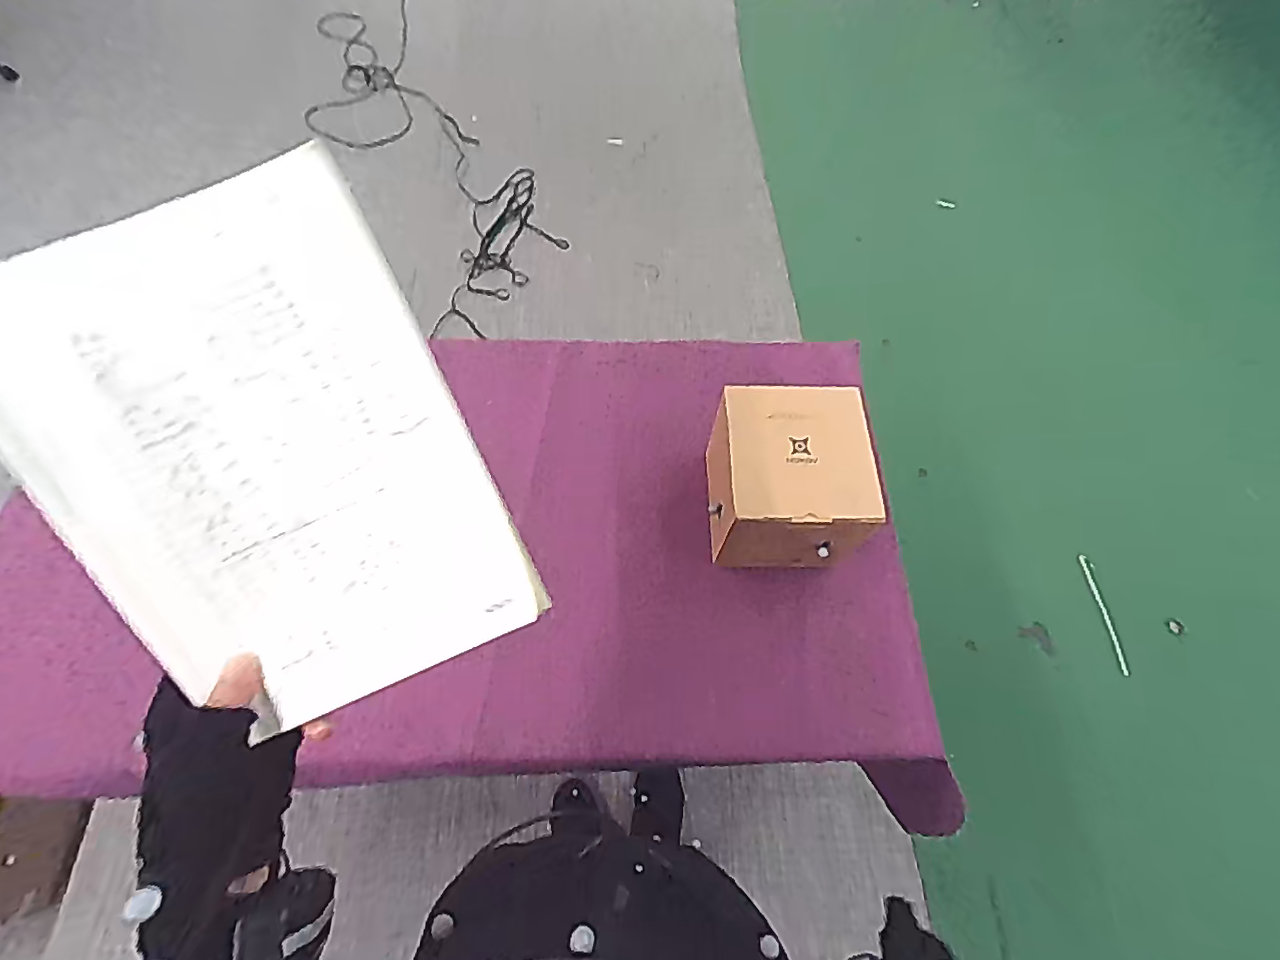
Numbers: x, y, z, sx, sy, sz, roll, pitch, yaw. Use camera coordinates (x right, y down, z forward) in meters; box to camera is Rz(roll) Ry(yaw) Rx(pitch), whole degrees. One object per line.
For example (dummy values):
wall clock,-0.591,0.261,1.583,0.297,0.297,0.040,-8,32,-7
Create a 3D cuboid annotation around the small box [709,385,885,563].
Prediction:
small box,0.182,0.001,0.685,0.168,0.176,0.179,1,64,-1
